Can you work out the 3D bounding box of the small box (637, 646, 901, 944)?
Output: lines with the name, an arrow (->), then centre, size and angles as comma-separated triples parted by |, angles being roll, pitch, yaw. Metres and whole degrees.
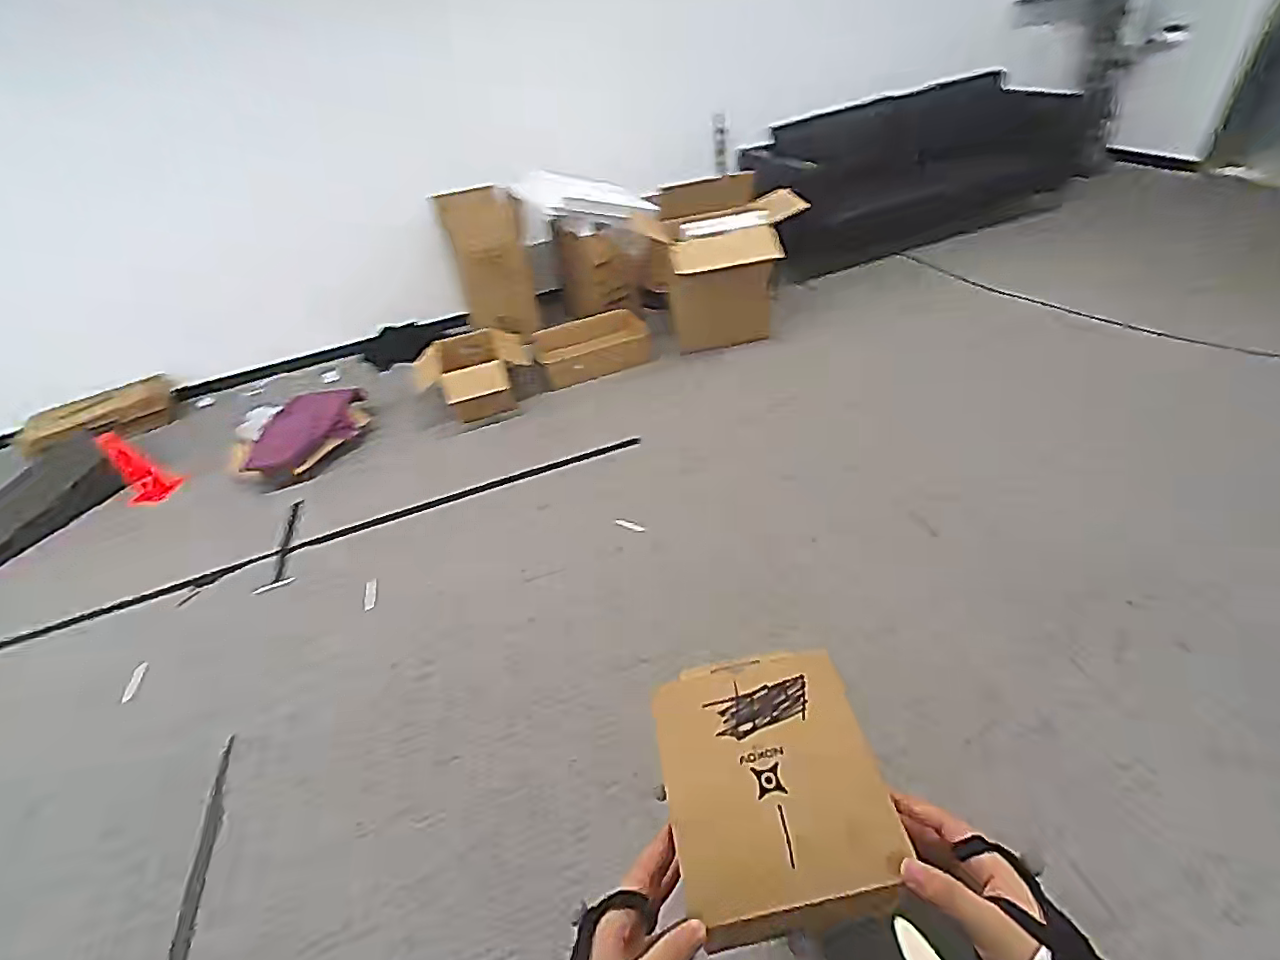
small box -> 0.101, 0.284, 0.491 | 0.168, 0.176, 0.179 | -14, 45, -1
